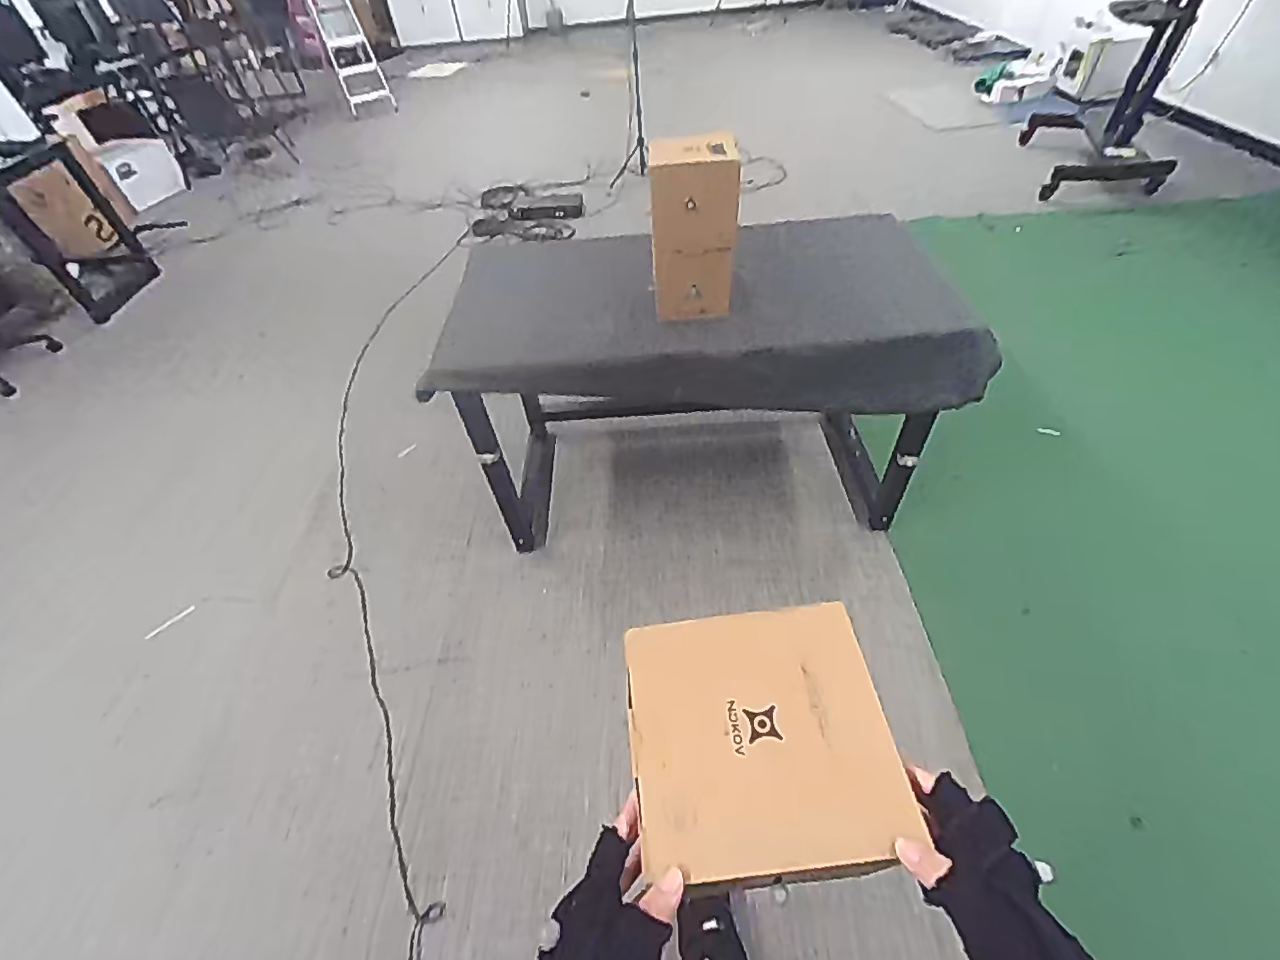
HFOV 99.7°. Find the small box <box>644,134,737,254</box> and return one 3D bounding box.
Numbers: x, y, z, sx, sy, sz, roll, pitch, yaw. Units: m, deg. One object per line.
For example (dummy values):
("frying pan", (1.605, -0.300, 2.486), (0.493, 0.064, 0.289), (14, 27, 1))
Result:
("small box", (0.104, -0.590, 1.122), (0.179, 0.176, 0.168), (-3, 47, 6))

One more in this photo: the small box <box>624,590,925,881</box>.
("small box", (0.089, 0.212, 0.441), (0.179, 0.176, 0.168), (-9, 51, 0))

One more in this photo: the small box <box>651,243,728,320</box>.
("small box", (0.112, -0.485, 1.249), (0.168, 0.176, 0.179), (-5, 48, 3))
